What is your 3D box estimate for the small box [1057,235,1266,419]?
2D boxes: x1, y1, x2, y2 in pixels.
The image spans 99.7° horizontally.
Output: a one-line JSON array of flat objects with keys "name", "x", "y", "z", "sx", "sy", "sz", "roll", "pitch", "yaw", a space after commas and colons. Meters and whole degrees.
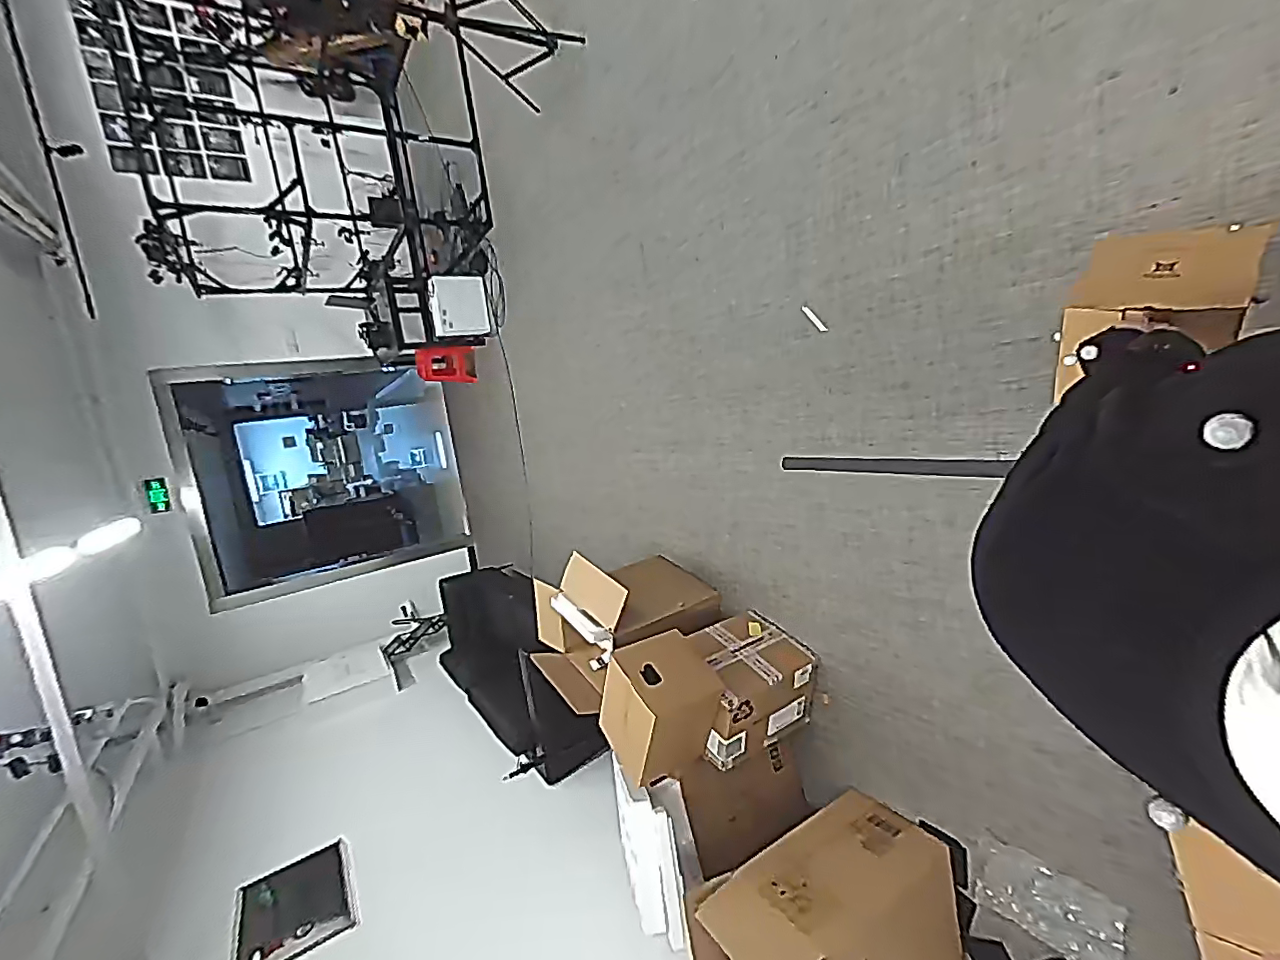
[{"name": "small box", "x": 0.697, "y": -0.206, "z": 0.740, "sx": 0.168, "sy": 0.179, "sz": 0.176, "roll": 18, "pitch": 148, "yaw": 42}]
